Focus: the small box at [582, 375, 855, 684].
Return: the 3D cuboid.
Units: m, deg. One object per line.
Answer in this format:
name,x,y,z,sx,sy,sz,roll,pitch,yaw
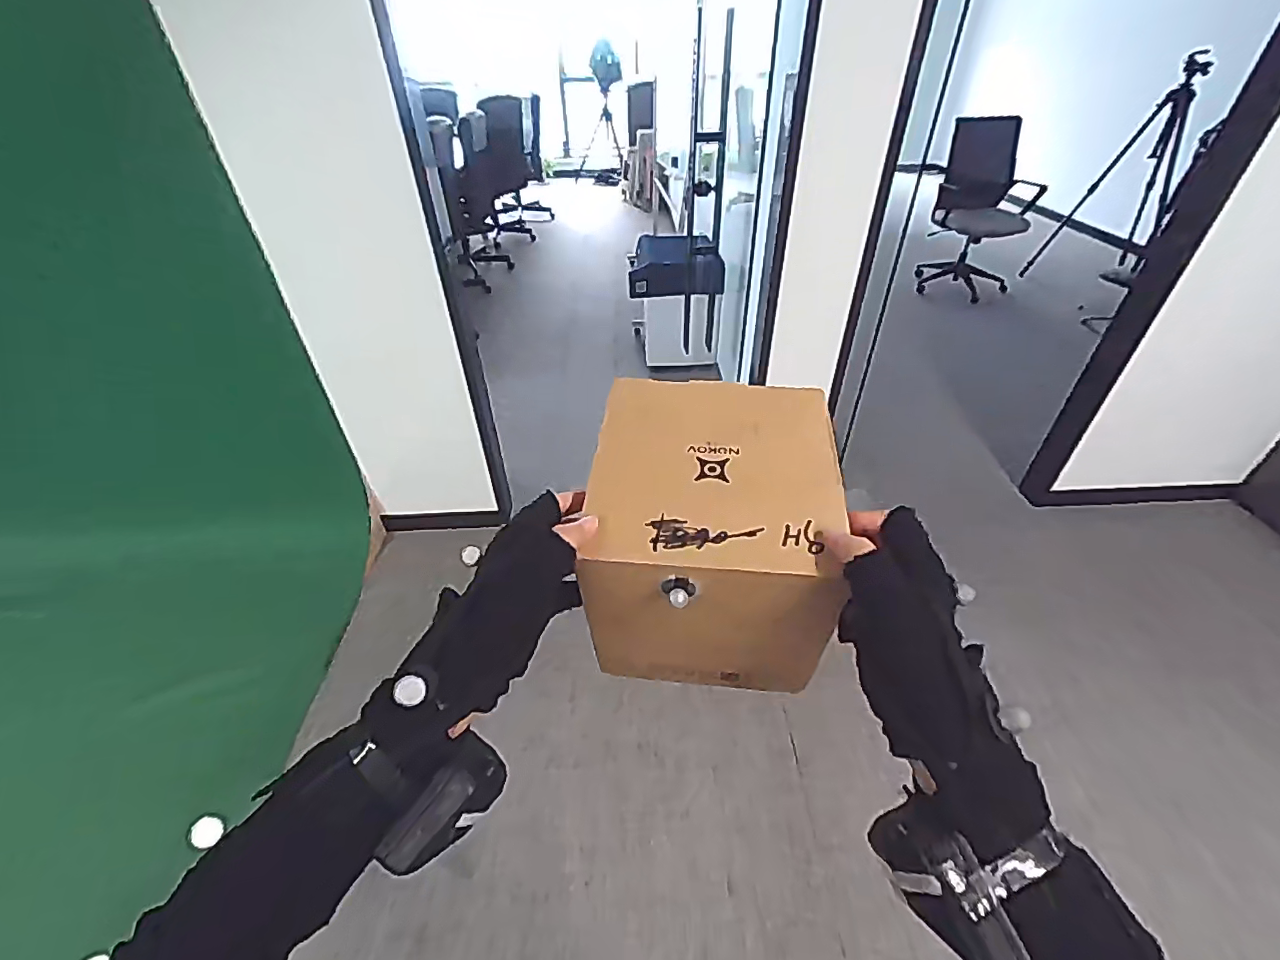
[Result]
small box,0.059,0.037,0.434,0.168,0.176,0.179,3,47,8
